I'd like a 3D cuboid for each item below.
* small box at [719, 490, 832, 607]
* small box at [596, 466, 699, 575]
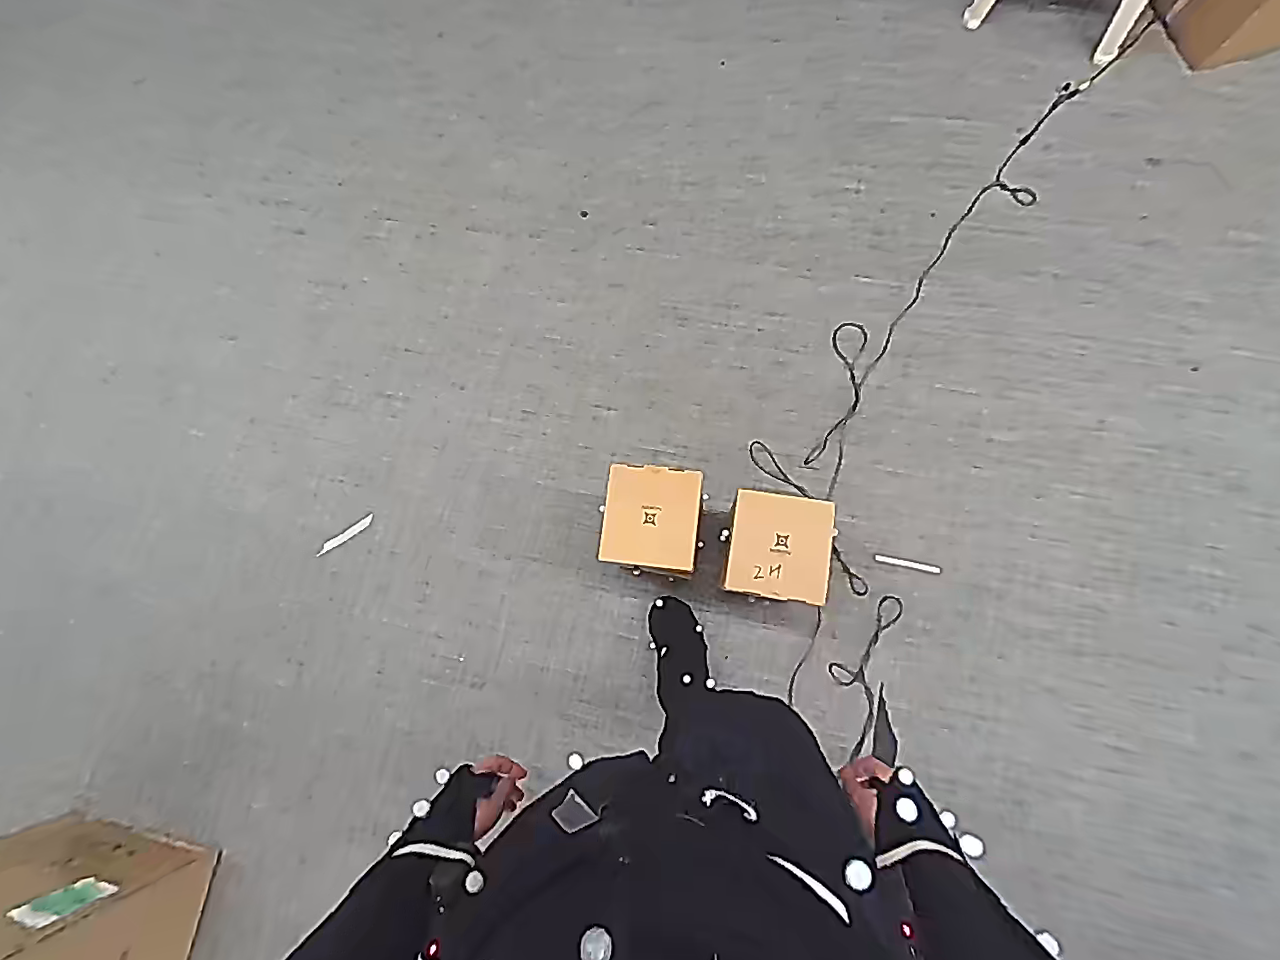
[{"bbox_3d":[0.238,0.128,0.985,0.168,0.176,0.179,9,80,8],"label":"small box"},{"bbox_3d":[0.022,0.084,1.020,0.168,0.176,0.179,5,78,7],"label":"small box"}]
